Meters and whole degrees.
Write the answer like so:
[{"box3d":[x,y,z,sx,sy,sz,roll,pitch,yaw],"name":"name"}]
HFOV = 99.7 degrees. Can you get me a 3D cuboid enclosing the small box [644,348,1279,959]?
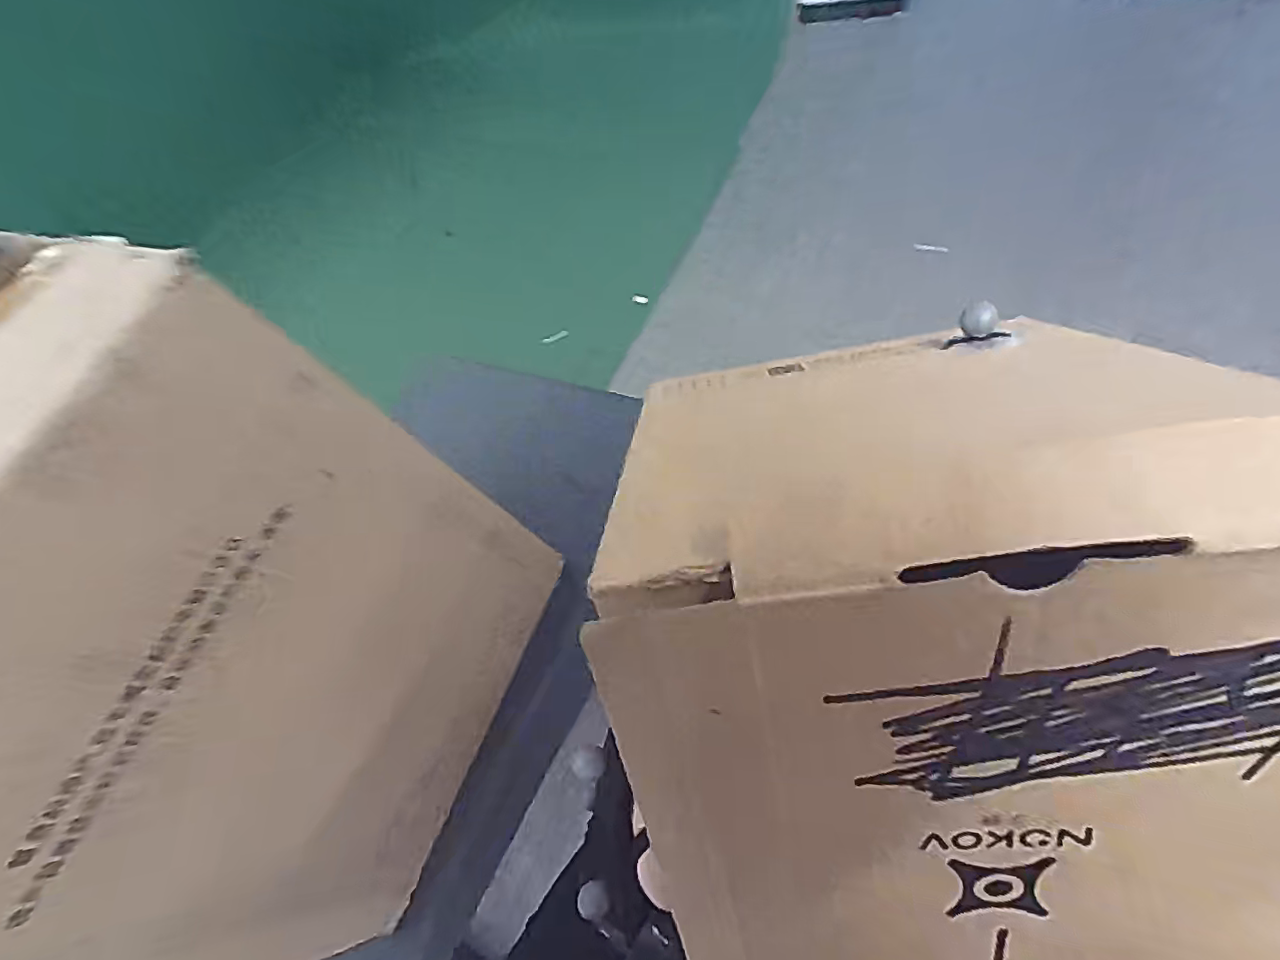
[{"box3d":[0.101,0.057,0.200,0.168,0.179,0.176,-8,23,10],"name":"small box"}]
